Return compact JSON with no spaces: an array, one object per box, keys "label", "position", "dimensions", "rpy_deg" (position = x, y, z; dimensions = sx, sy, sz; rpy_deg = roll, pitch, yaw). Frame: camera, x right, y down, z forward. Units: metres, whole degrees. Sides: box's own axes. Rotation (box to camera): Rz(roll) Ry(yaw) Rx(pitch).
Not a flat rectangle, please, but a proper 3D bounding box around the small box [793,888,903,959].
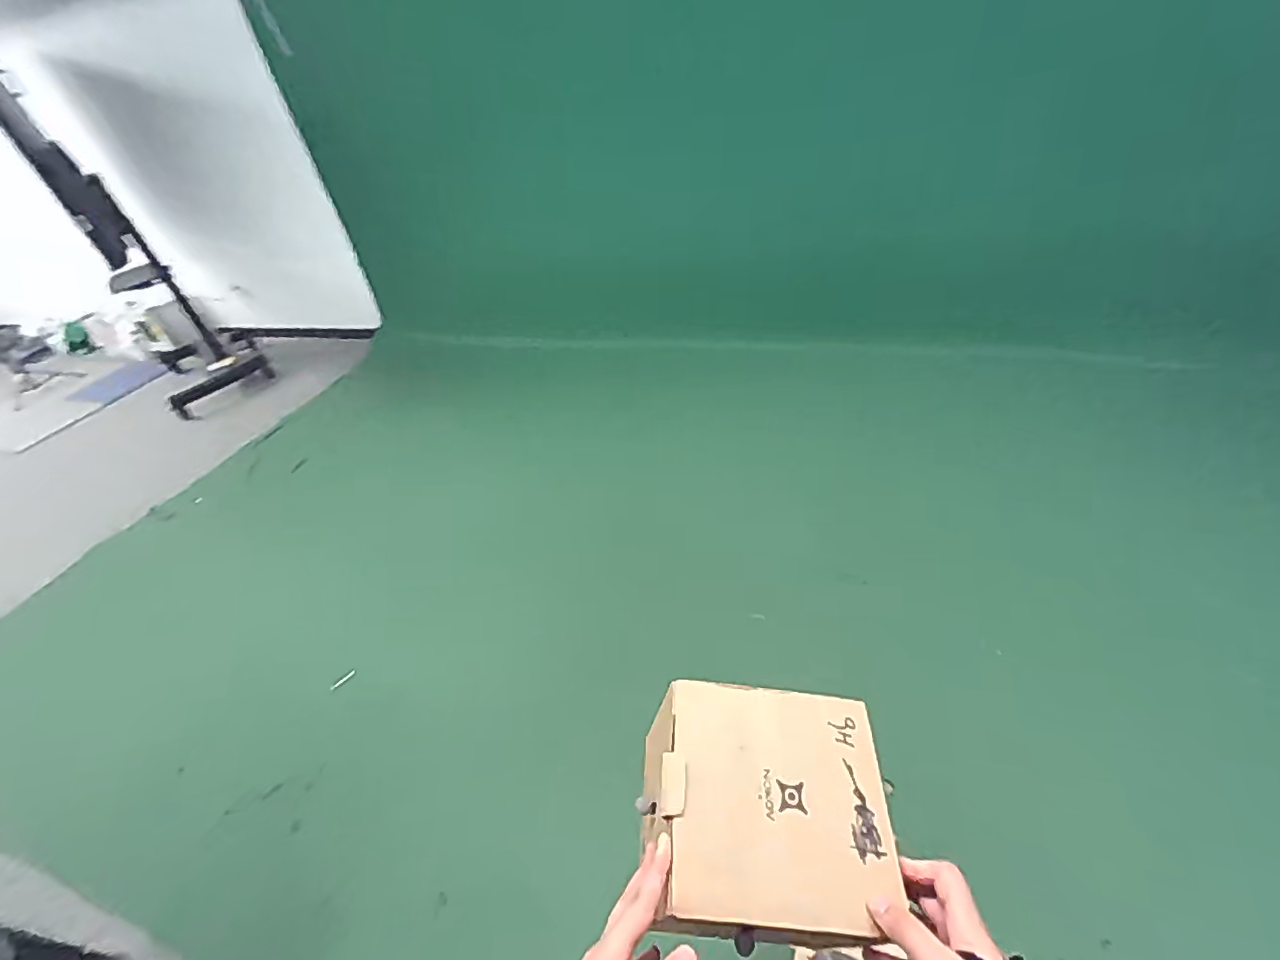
[{"label":"small box","position":[0.390,0.932,1.037],"dimensions":[0.179,0.176,0.168],"rpy_deg":[10,44,23]}]
